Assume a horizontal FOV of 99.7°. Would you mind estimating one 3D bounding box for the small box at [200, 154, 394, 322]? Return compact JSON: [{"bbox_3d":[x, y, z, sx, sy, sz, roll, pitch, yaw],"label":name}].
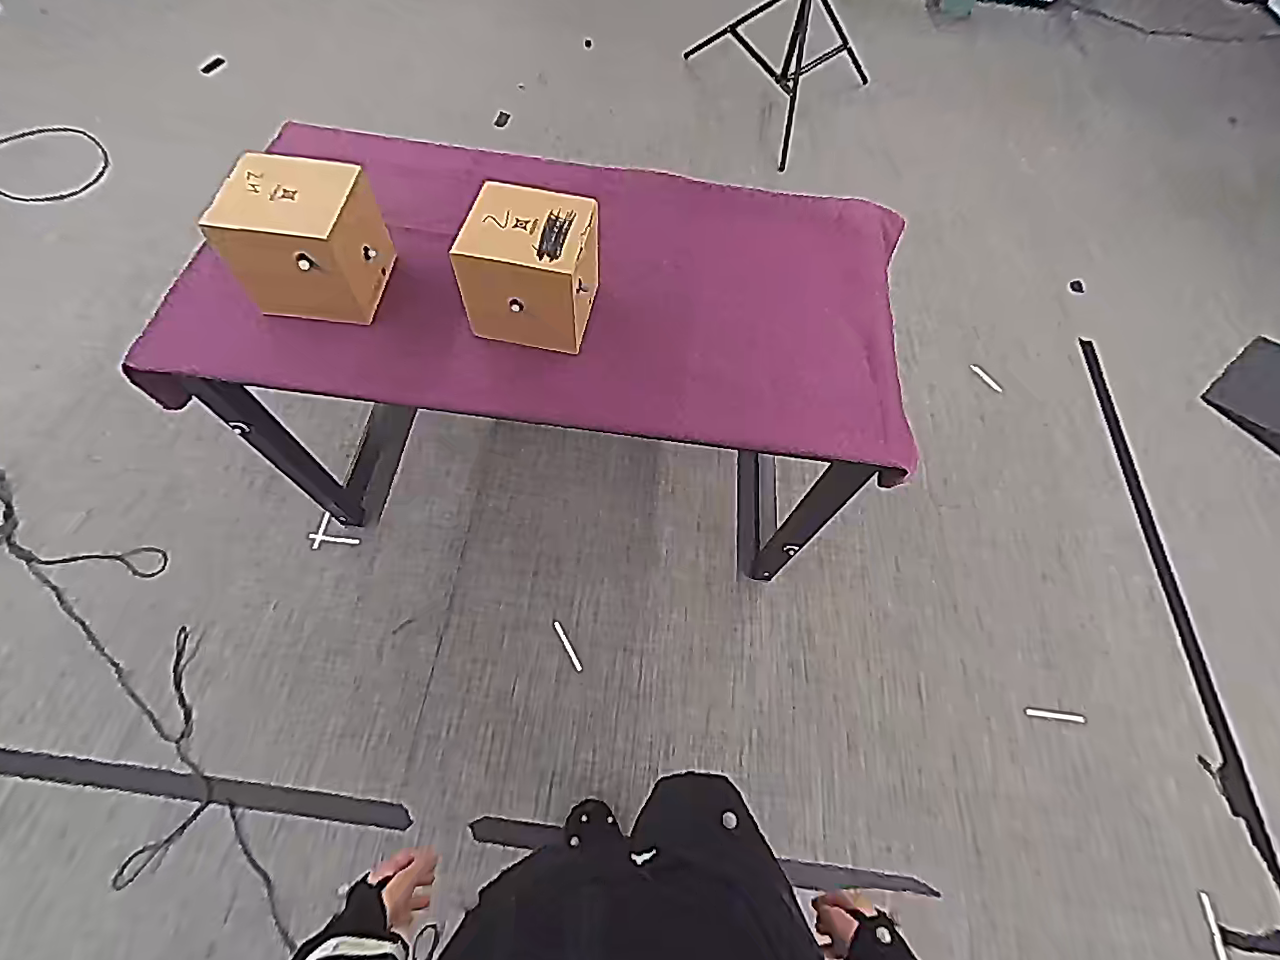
[{"bbox_3d":[-0.510,-0.367,0.840,0.179,0.176,0.168,5,62,-2],"label":"small box"}]
